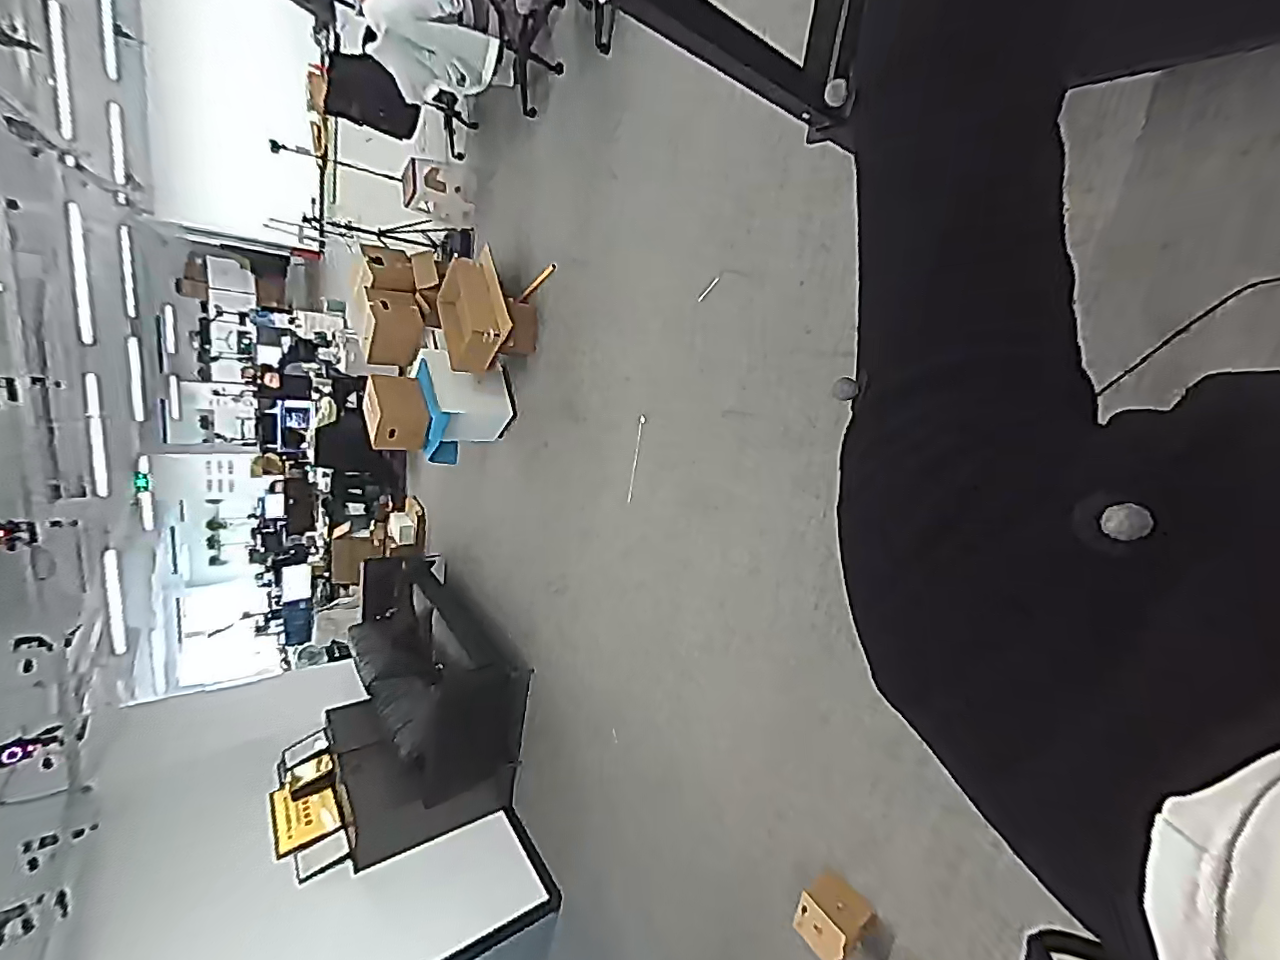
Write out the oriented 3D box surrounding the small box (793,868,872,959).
[{"bbox_3d":[0.663,1.495,1.859,0.179,0.176,0.168,28,114,48],"label":"small box"}]
